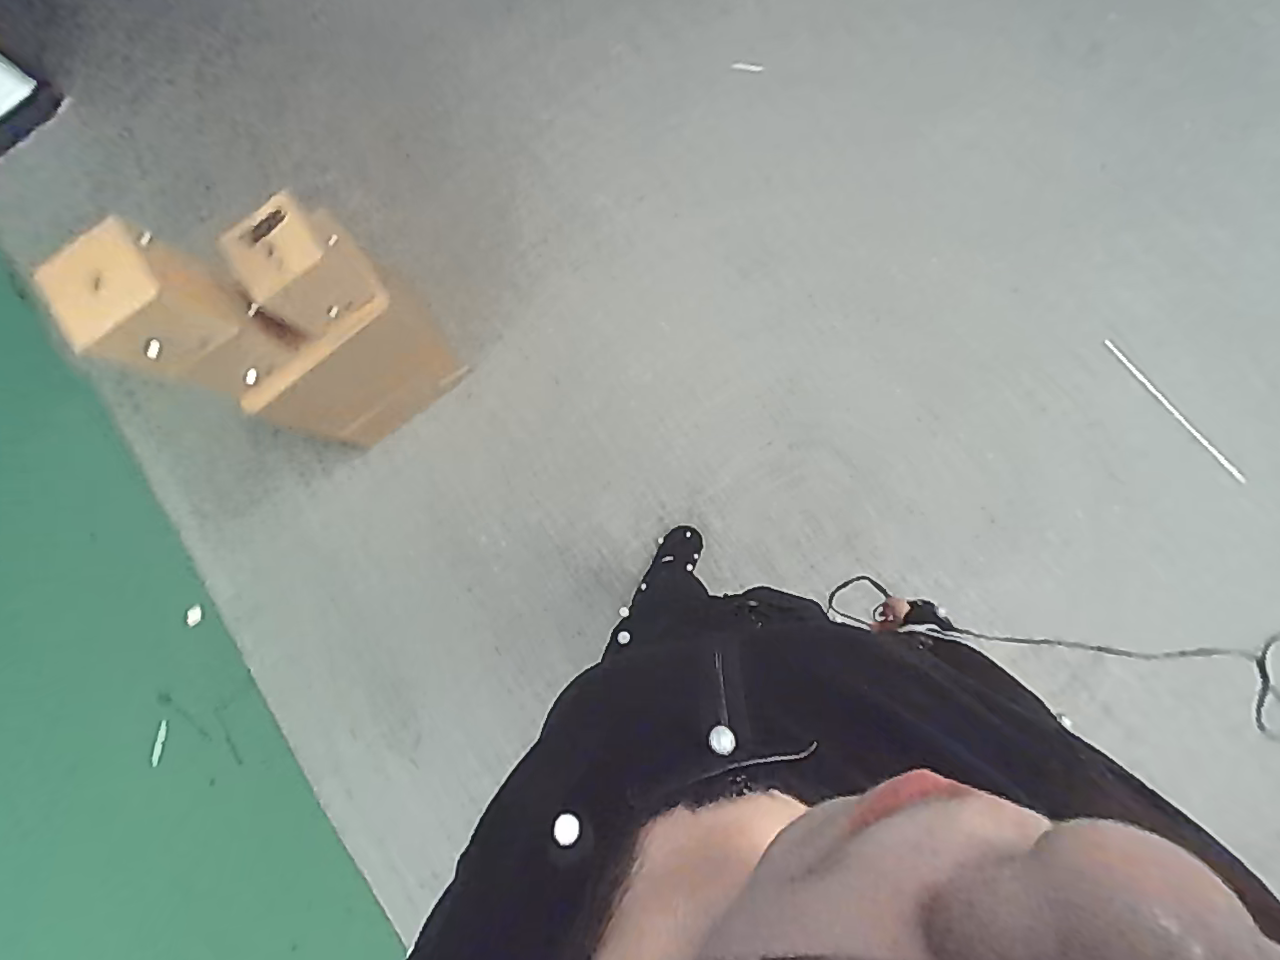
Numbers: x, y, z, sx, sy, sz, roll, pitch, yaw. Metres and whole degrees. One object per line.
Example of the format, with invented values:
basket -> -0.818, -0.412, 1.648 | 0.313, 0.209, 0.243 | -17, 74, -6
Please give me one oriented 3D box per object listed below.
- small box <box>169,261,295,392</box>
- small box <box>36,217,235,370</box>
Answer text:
small box -> -0.884, -0.312, 1.136 | 0.168, 0.176, 0.179 | -36, 83, 0
small box -> -0.891, -0.319, 0.973 | 0.168, 0.176, 0.179 | -37, 82, 0
